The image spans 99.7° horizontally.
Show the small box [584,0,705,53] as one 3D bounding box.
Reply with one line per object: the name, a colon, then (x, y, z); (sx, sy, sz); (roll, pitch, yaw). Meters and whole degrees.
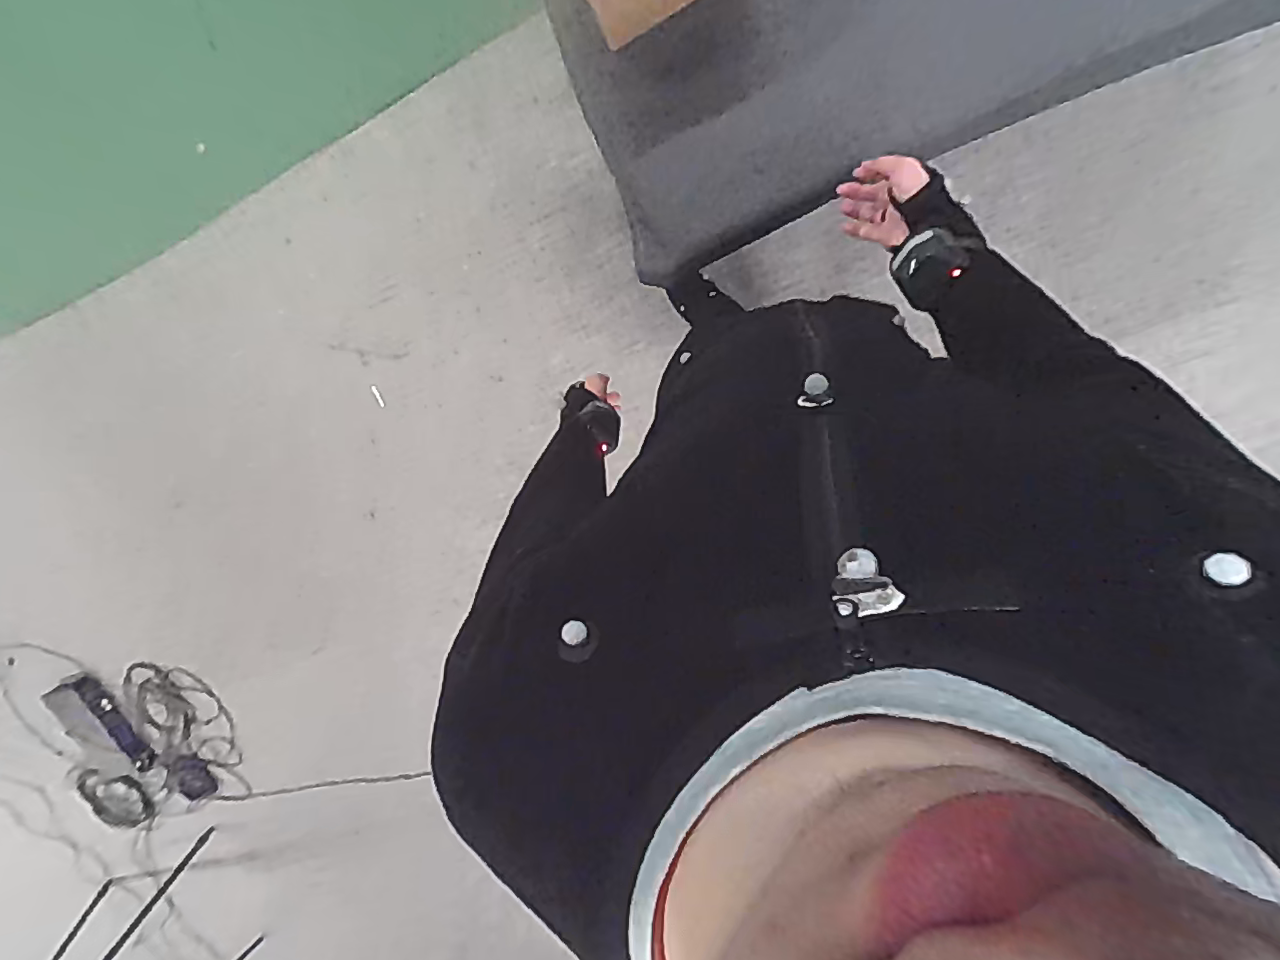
small box: (-0.001, -0.582, 0.536); (0.179, 0.176, 0.168); (-22, 106, 15)
